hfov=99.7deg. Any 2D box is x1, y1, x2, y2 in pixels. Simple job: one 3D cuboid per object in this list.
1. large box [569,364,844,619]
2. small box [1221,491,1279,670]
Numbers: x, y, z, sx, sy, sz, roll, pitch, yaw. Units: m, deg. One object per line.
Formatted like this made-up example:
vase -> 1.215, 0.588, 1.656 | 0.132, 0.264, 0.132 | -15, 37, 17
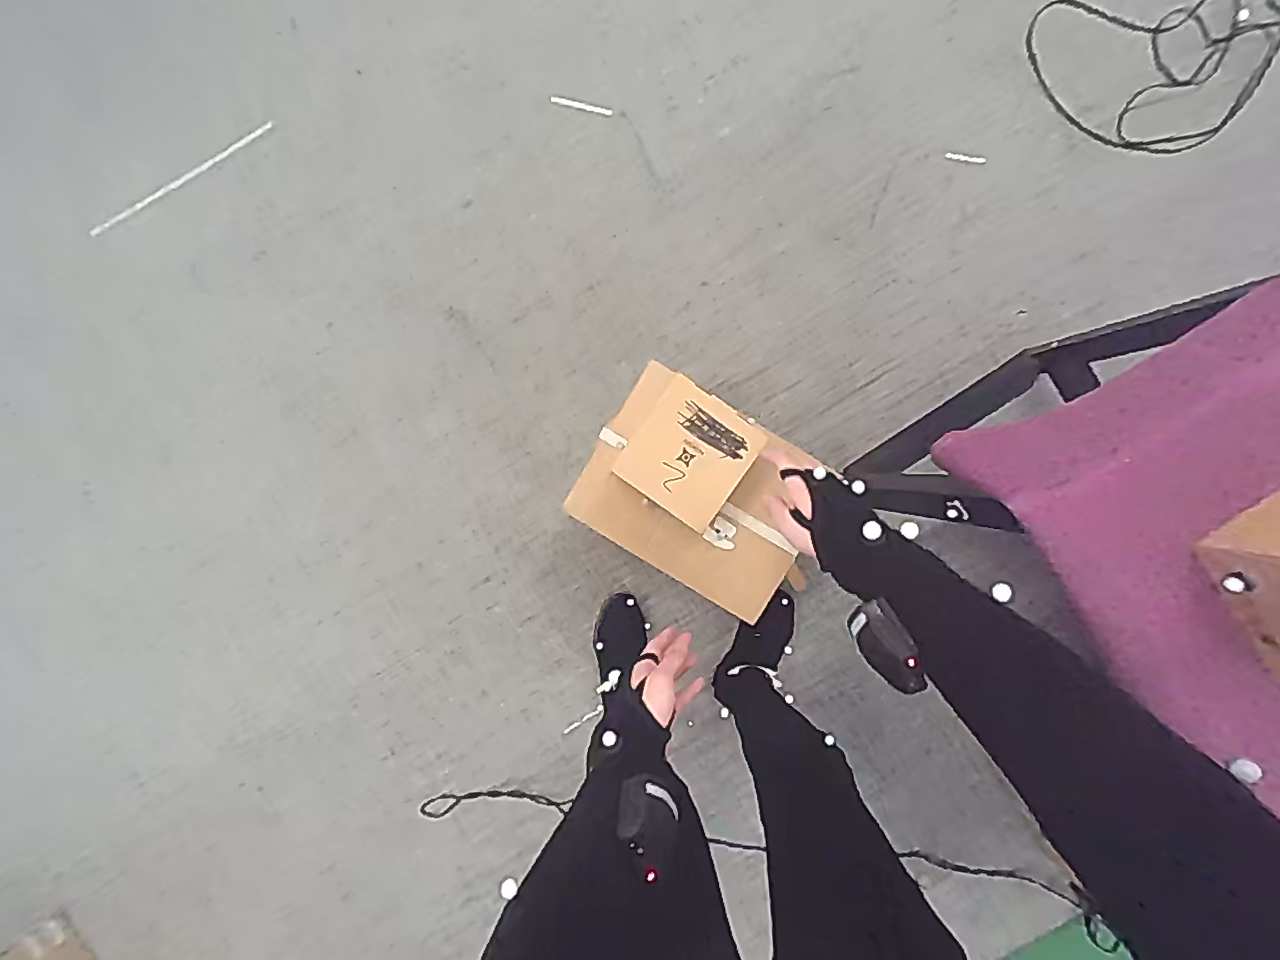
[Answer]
large box -> 0.112, 0.019, 1.102 | 0.408, 0.320, 0.320 | 31, 91, -2
small box -> 0.654, 0.084, 0.445 | 0.179, 0.176, 0.168 | -33, 91, -1
